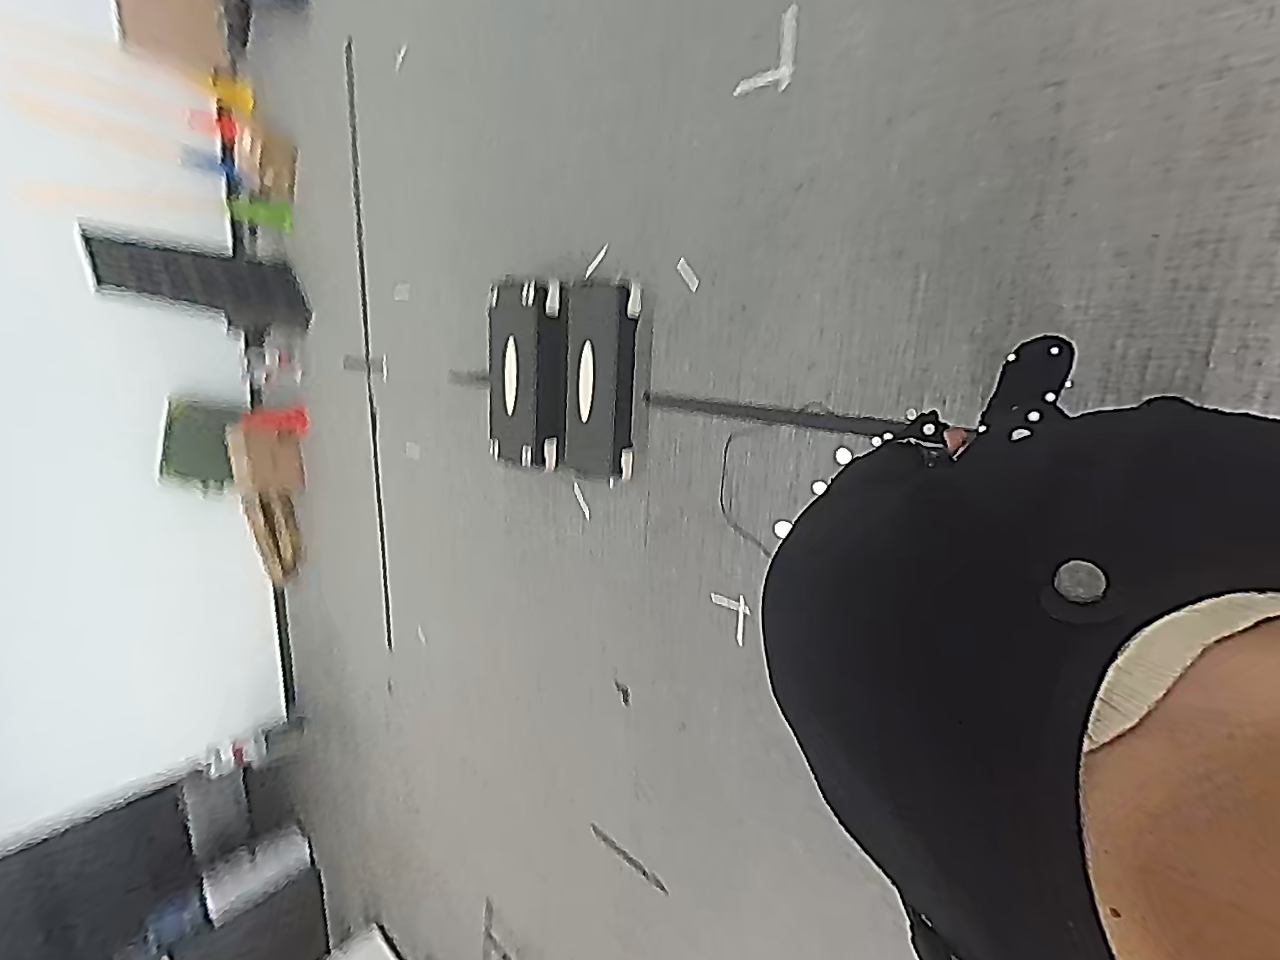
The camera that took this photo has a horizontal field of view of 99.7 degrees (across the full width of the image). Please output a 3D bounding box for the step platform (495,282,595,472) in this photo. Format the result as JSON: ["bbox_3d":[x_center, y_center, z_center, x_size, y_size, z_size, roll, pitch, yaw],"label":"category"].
[{"bbox_3d":[-0.363,-0.374,2.009,0.286,0.204,0.684,20,108,37],"label":"step platform"}]
